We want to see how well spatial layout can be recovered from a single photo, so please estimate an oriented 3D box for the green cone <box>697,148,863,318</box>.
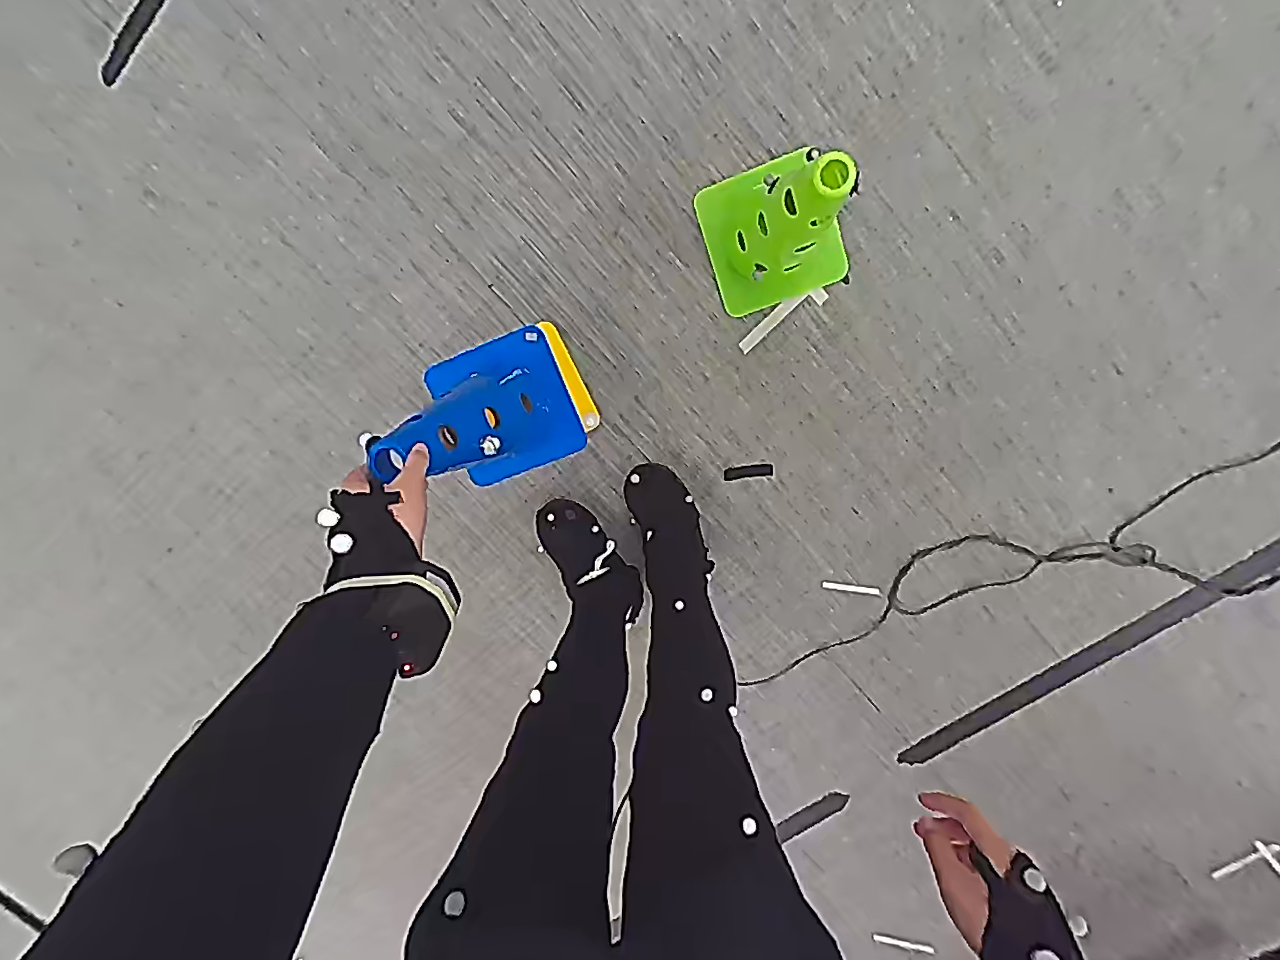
[{"bbox_3d":[0.194,-0.328,0.672,0.200,0.368,0.202,-19,104,10],"label":"green cone"}]
